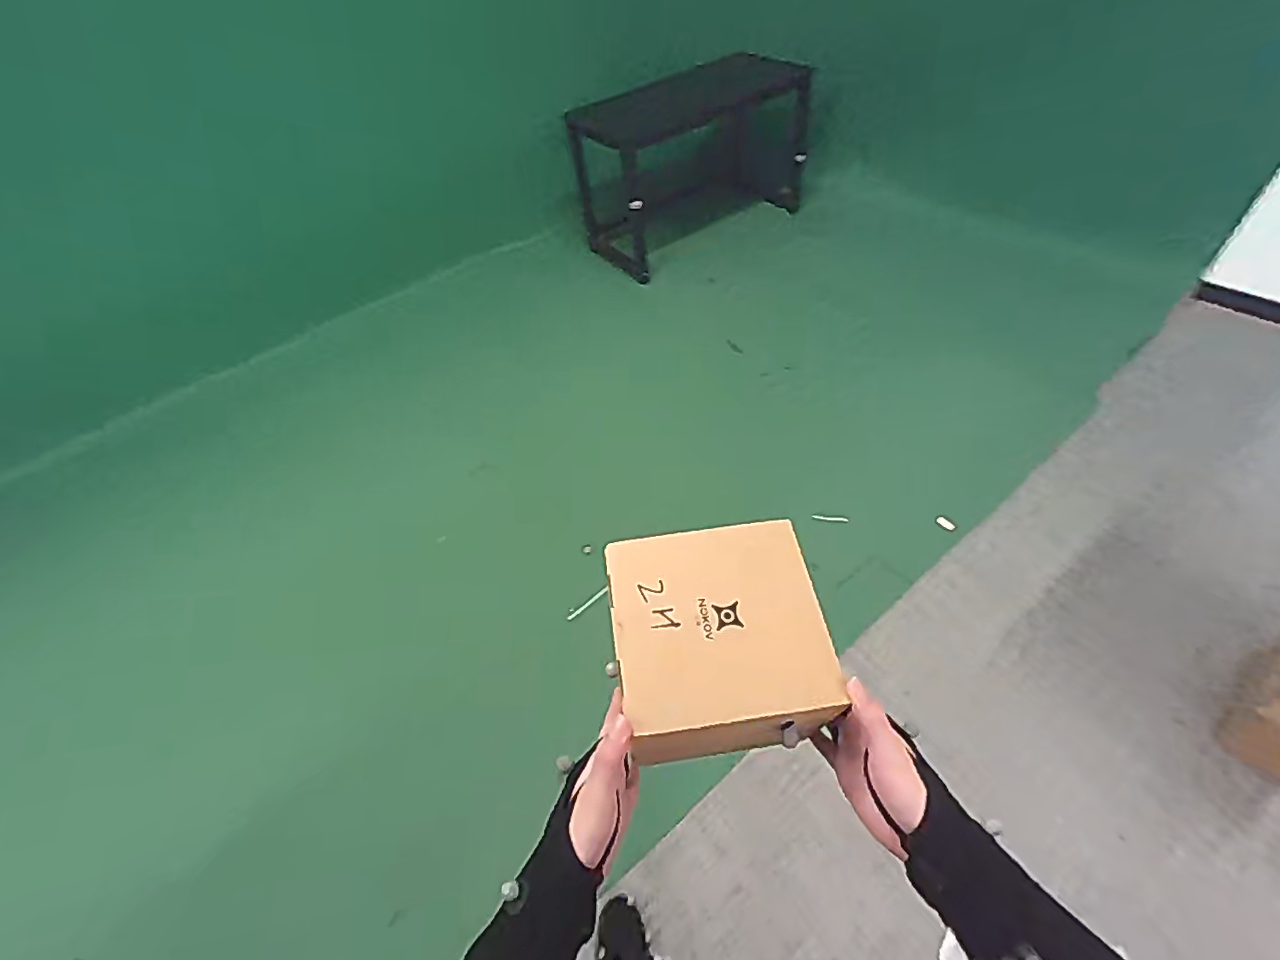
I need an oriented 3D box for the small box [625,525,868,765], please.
[{"bbox_3d":[0.081,0.162,0.515,0.179,0.176,0.168,-6,55,-3],"label":"small box"}]
